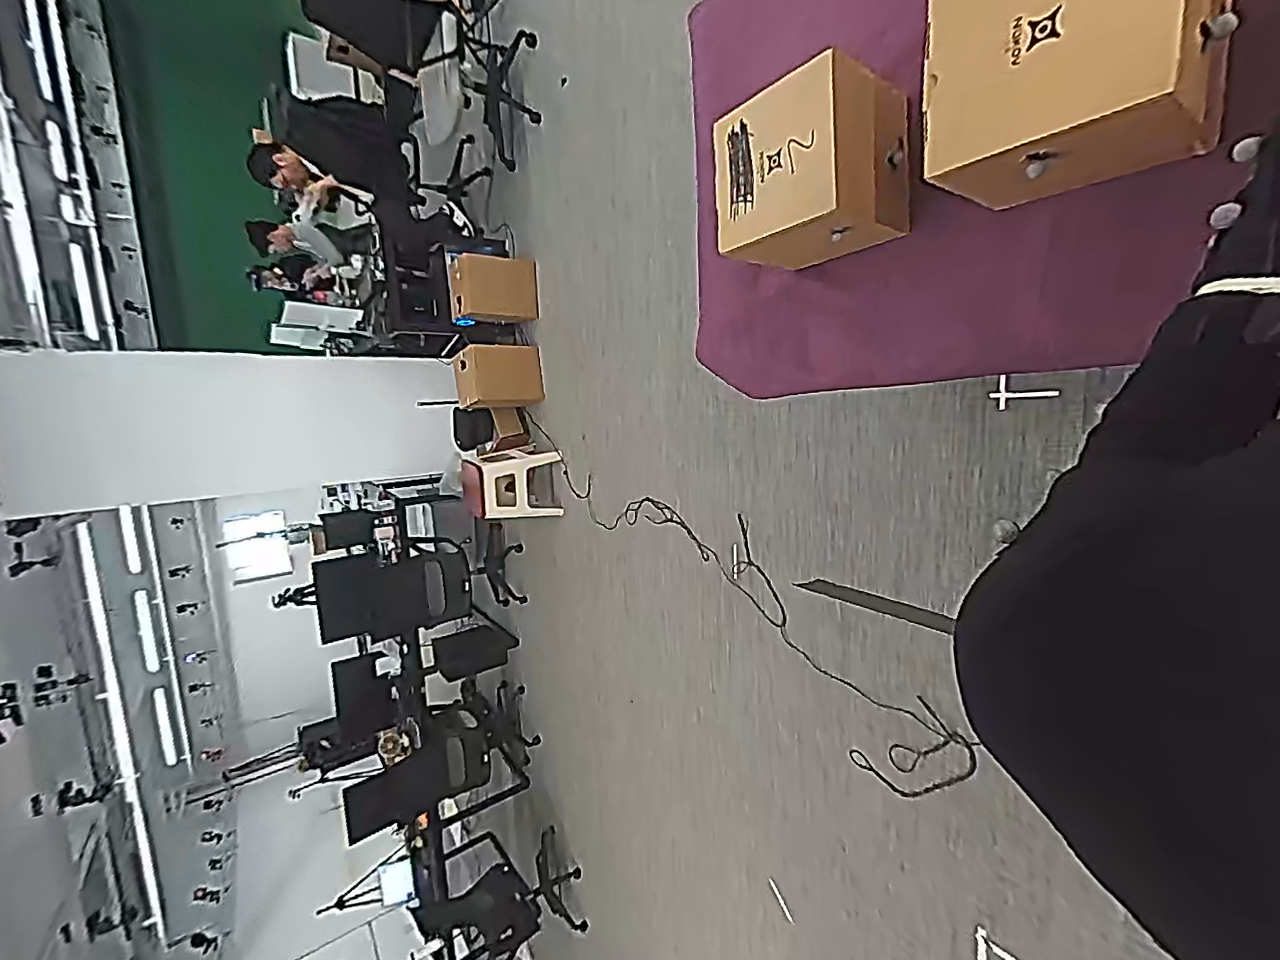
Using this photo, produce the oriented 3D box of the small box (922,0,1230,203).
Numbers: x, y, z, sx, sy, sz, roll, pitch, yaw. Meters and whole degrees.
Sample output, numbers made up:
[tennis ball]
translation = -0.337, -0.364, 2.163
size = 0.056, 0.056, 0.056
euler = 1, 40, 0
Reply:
[small box]
translation = 0.377, -0.365, 0.473
size = 0.179, 0.176, 0.168
euler = 9, 104, 55
